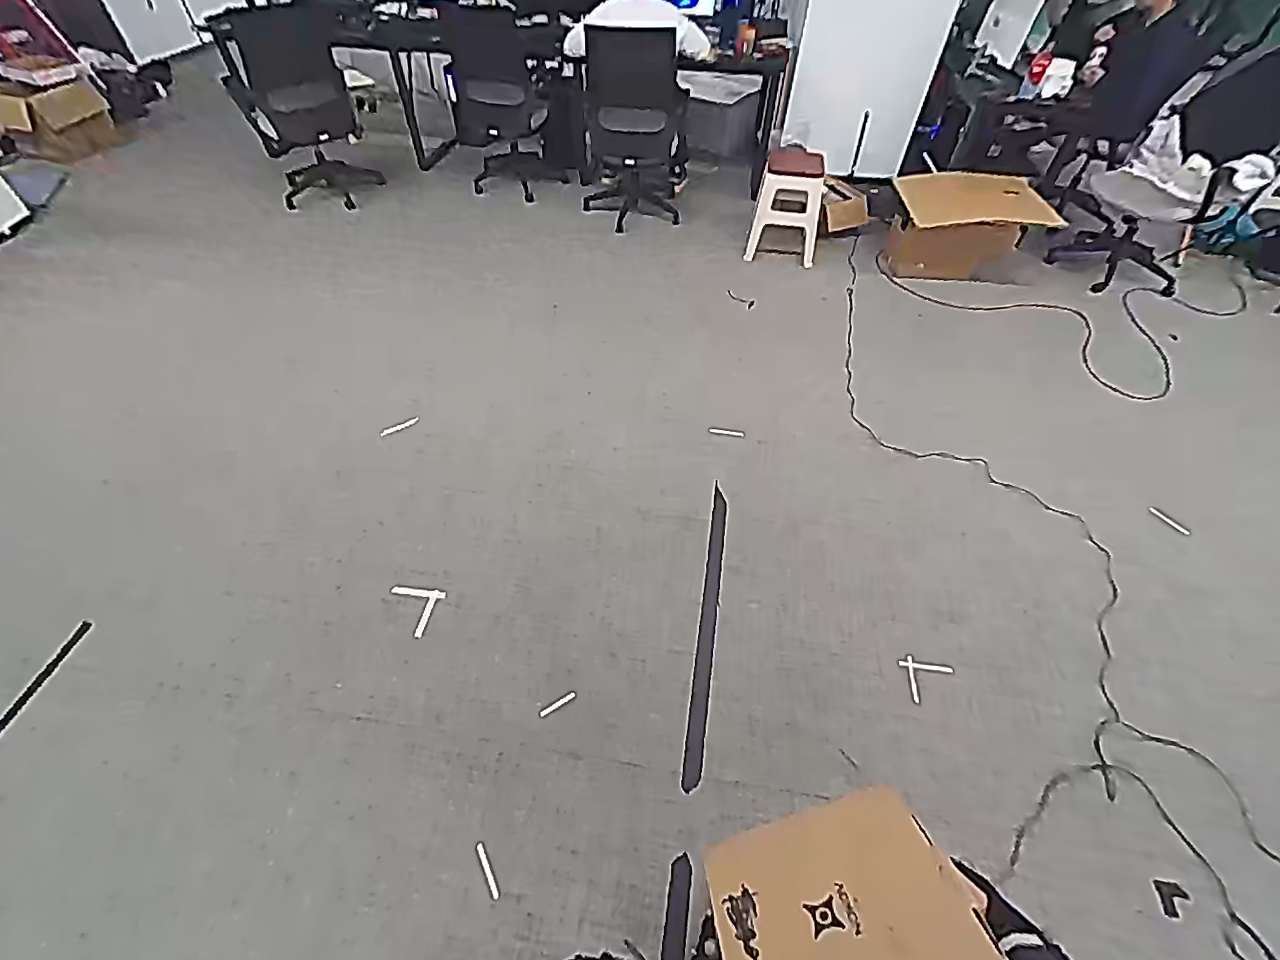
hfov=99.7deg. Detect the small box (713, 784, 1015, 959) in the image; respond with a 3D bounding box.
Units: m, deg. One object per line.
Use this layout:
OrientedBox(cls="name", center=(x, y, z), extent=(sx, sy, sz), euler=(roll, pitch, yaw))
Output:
OrientedBox(cls="small box", center=(0.174, 0.385, 0.415), extent=(0.179, 0.176, 0.168), euler=(-20, 14, 2))
